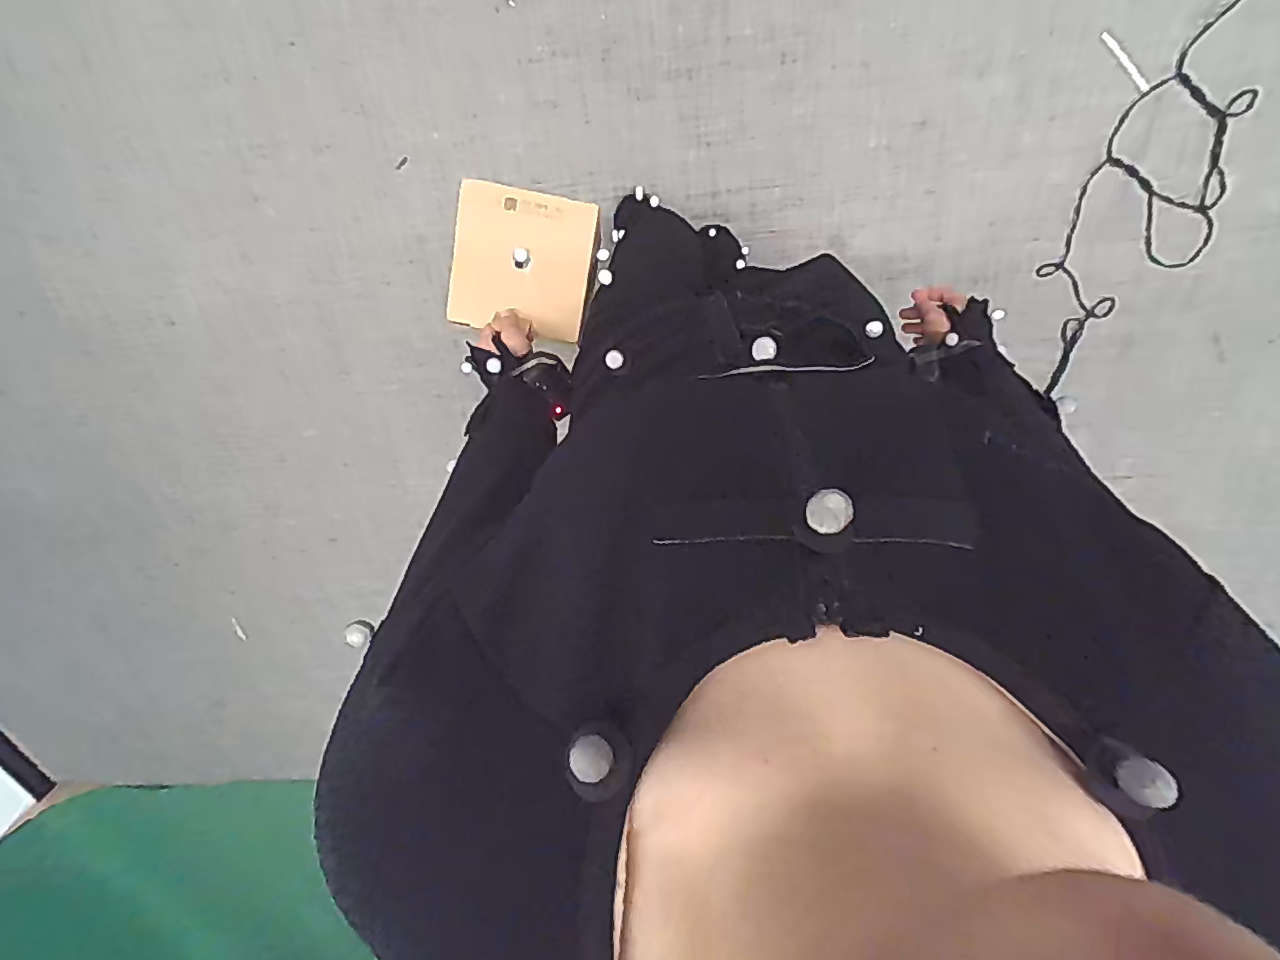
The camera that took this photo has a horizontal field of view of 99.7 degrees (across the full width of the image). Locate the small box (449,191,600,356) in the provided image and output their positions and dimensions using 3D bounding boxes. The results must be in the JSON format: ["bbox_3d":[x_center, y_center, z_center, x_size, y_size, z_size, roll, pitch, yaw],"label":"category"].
[{"bbox_3d":[-0.150,-0.272,0.740,0.168,0.179,0.176,10,100,-6],"label":"small box"}]
